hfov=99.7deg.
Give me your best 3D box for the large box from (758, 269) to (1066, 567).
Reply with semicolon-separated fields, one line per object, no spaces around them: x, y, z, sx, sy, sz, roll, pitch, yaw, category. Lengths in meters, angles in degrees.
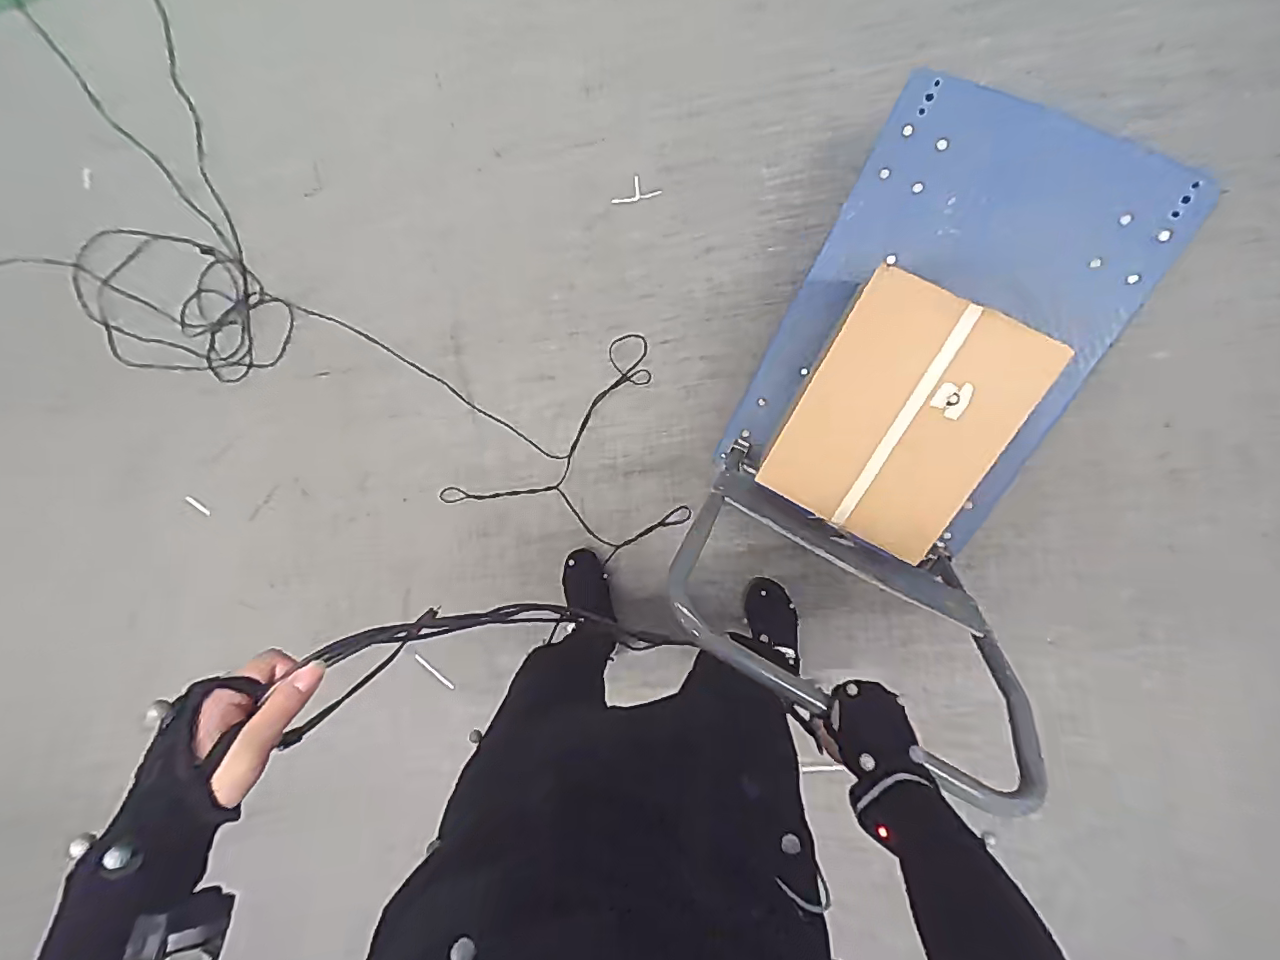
0.463;-0.118;1.025;0.320;0.320;0.408;30;108;8;large box
